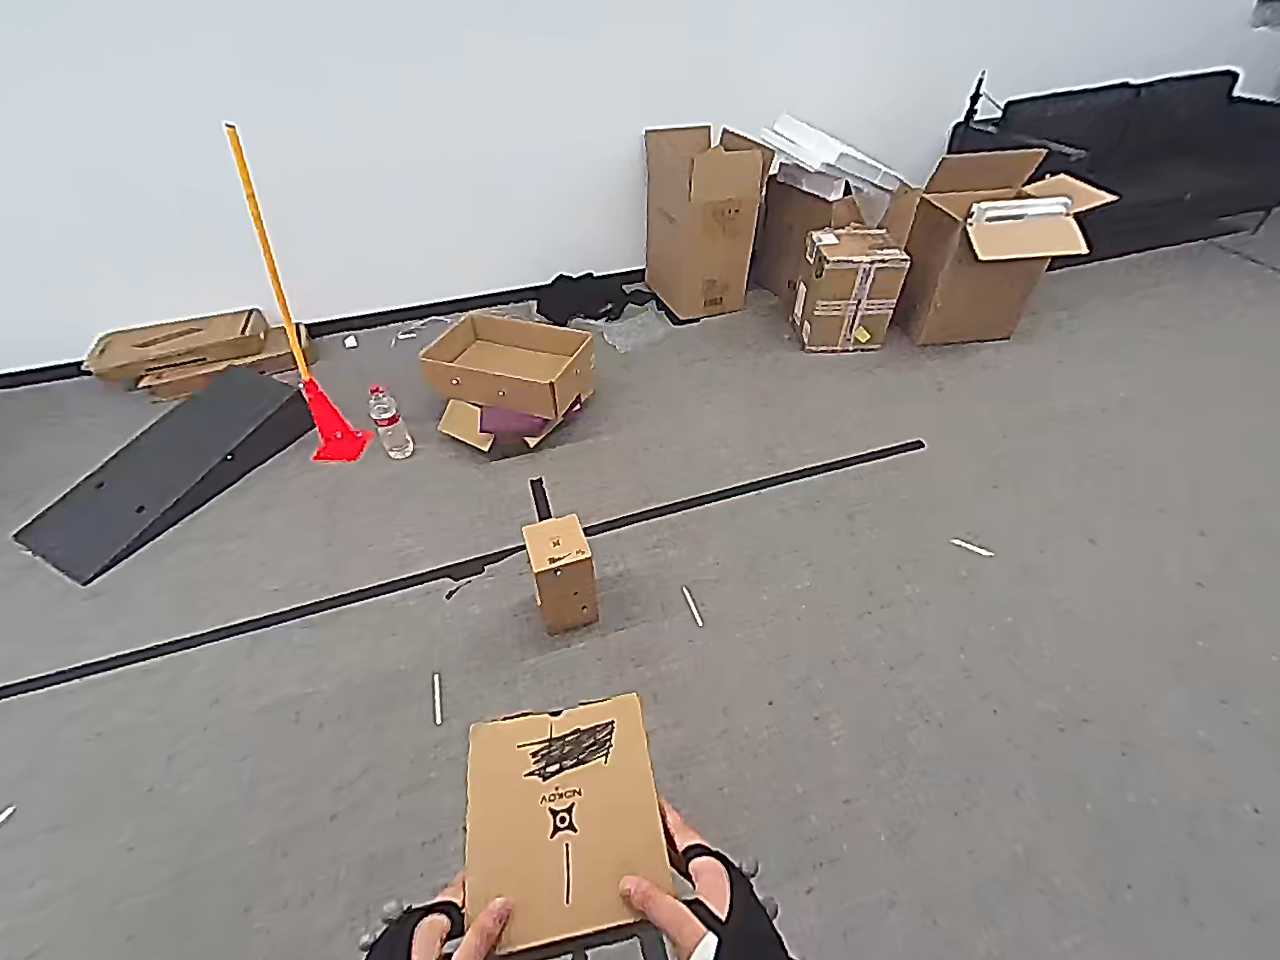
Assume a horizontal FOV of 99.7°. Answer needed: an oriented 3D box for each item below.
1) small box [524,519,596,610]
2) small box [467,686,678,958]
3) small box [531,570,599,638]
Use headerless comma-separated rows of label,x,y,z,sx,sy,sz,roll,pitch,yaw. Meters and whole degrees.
small box,-0.233,0.246,1.578,0.168,0.176,0.179,-15,44,-14
small box,-0.065,0.332,0.528,0.168,0.176,0.179,-9,47,-7
small box,-0.231,0.364,1.692,0.179,0.176,0.168,-15,44,-12
